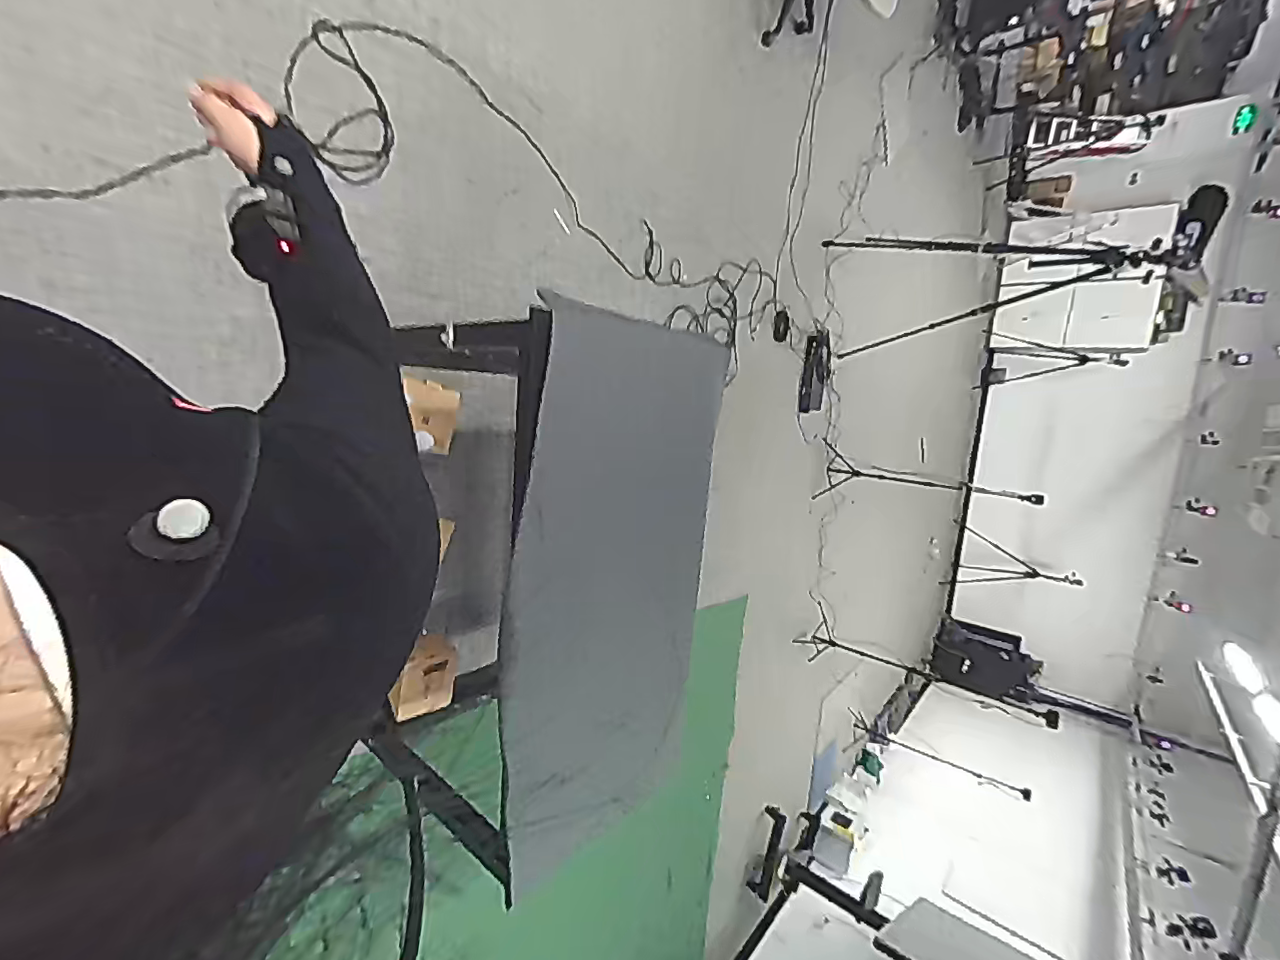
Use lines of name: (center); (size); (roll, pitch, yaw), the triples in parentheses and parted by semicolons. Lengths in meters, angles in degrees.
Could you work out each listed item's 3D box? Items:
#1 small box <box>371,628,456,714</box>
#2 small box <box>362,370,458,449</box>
small box: (-0.668, 0.549, 1.587); (0.168, 0.176, 0.179); (3, 98, -50)
small box: (-0.623, -0.191, 1.459); (0.168, 0.176, 0.179); (13, 88, -51)
